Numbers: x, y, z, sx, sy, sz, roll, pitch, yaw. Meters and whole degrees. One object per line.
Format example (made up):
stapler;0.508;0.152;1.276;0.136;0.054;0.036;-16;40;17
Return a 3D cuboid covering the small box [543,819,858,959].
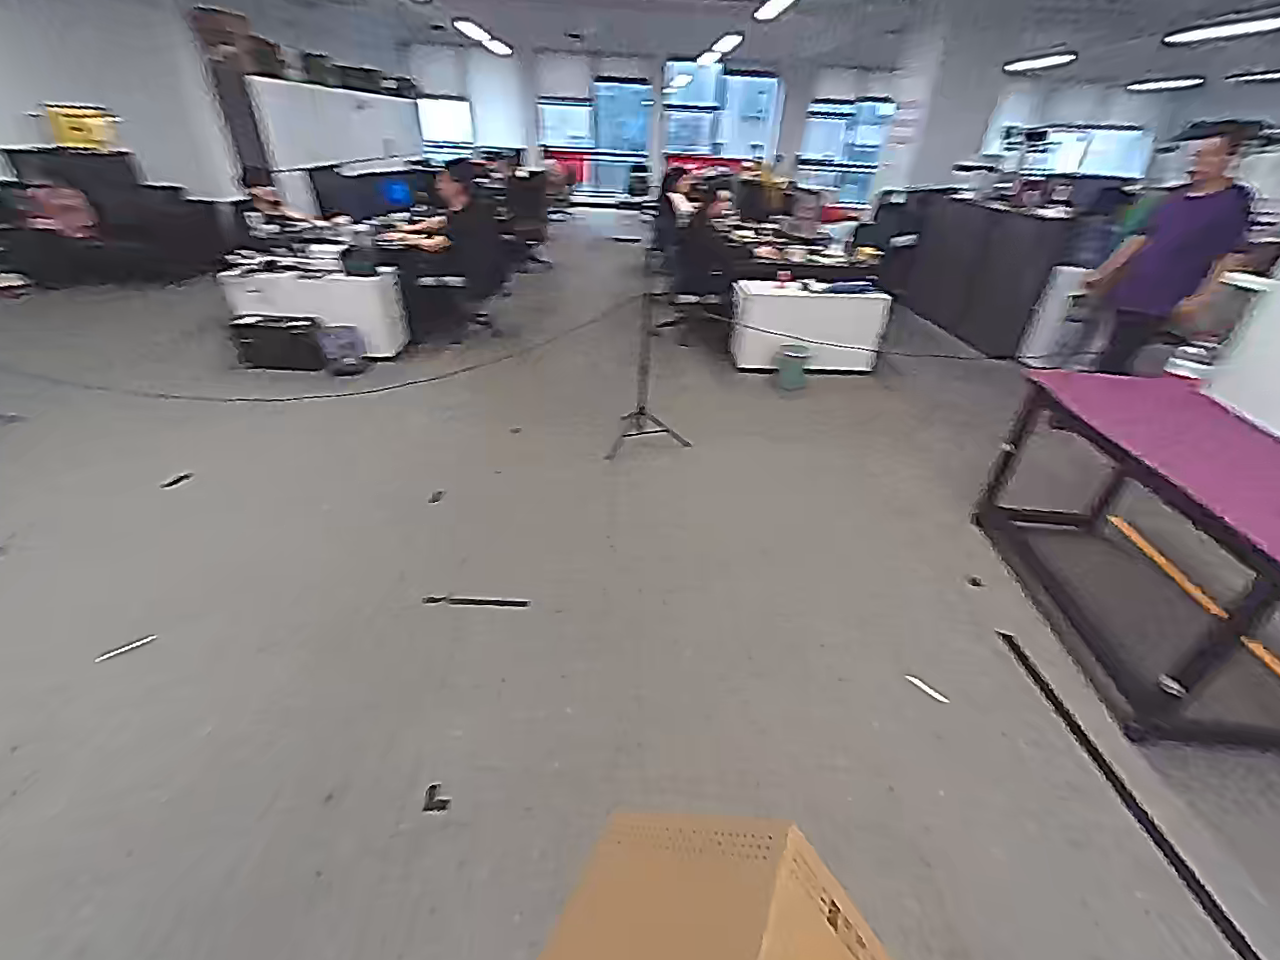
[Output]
small box;0.038;0.358;0.358;0.179;0.168;0.176;-25;14;38
